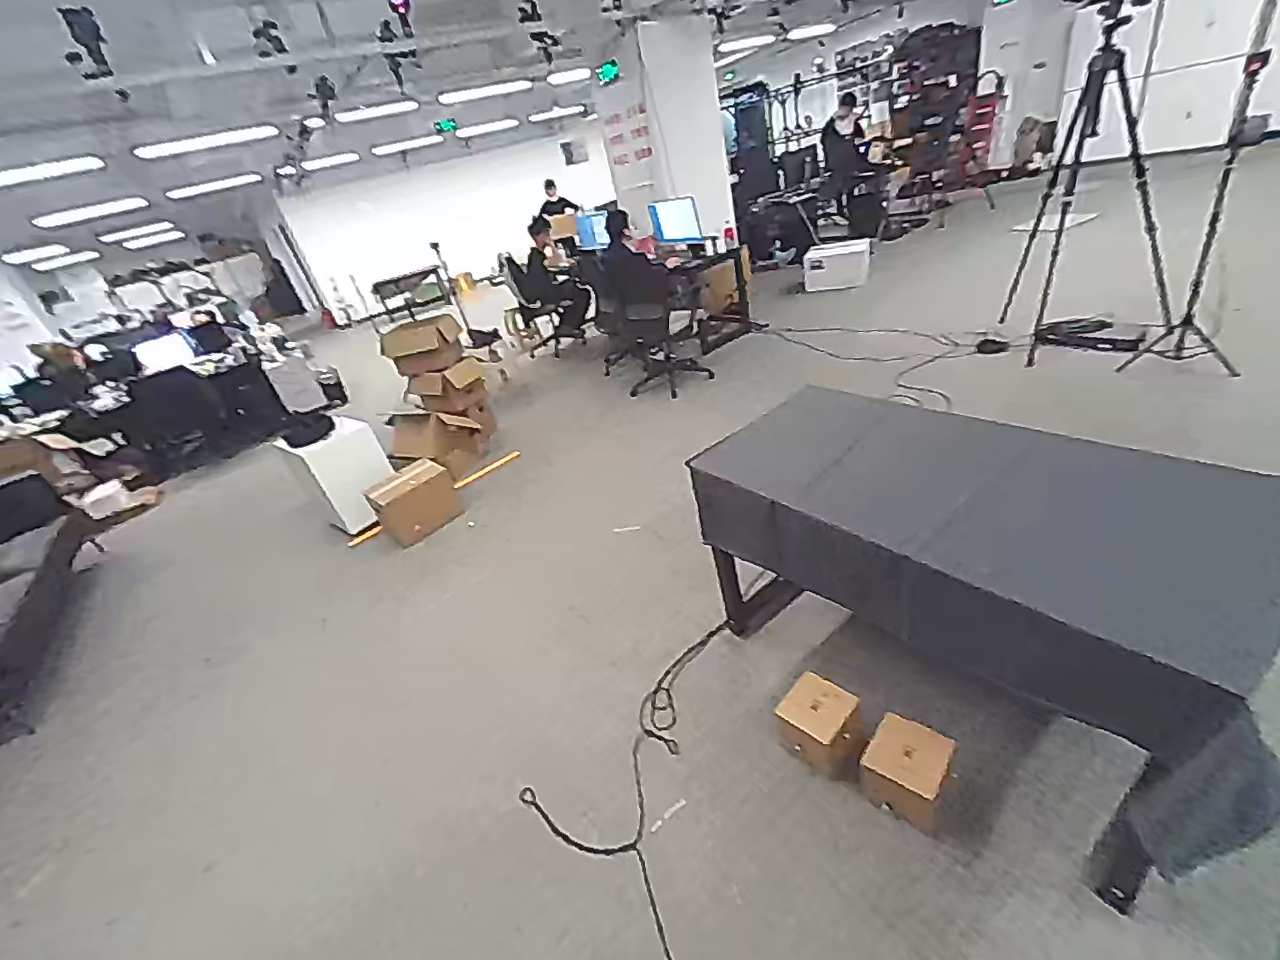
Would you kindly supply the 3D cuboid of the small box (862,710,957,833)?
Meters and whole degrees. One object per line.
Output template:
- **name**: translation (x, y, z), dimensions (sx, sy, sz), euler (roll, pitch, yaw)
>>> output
- **small box**: translation (0.677, 0.733, 1.366), dimensions (0.168, 0.176, 0.179), euler (15, 41, 42)
